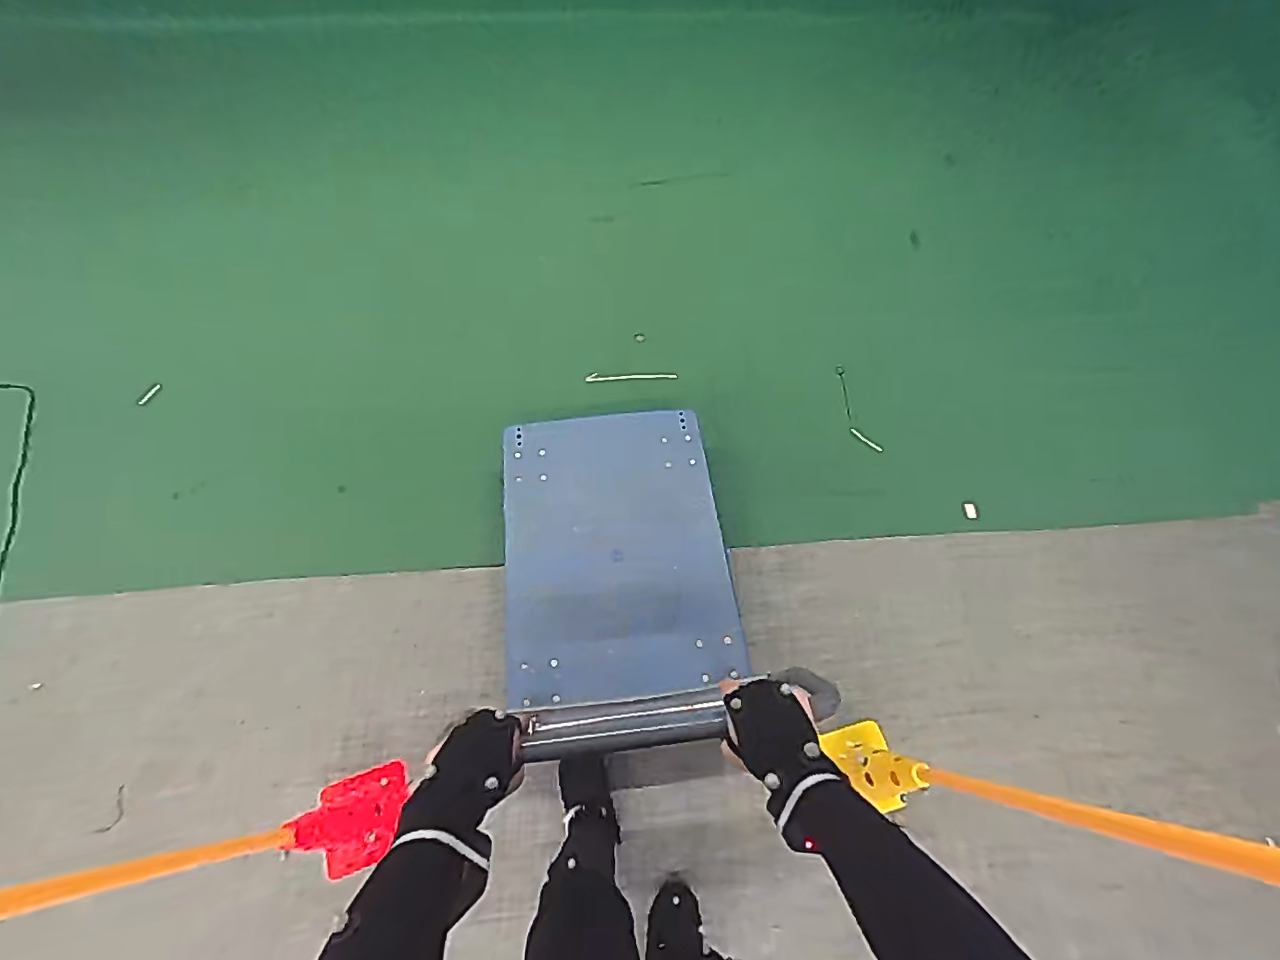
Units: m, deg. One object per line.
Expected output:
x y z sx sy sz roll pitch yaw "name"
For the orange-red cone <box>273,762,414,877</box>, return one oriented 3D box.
-0.639 0.715 1.117 0.199 0.360 0.198 -18 64 -9 "orange-red cone"
